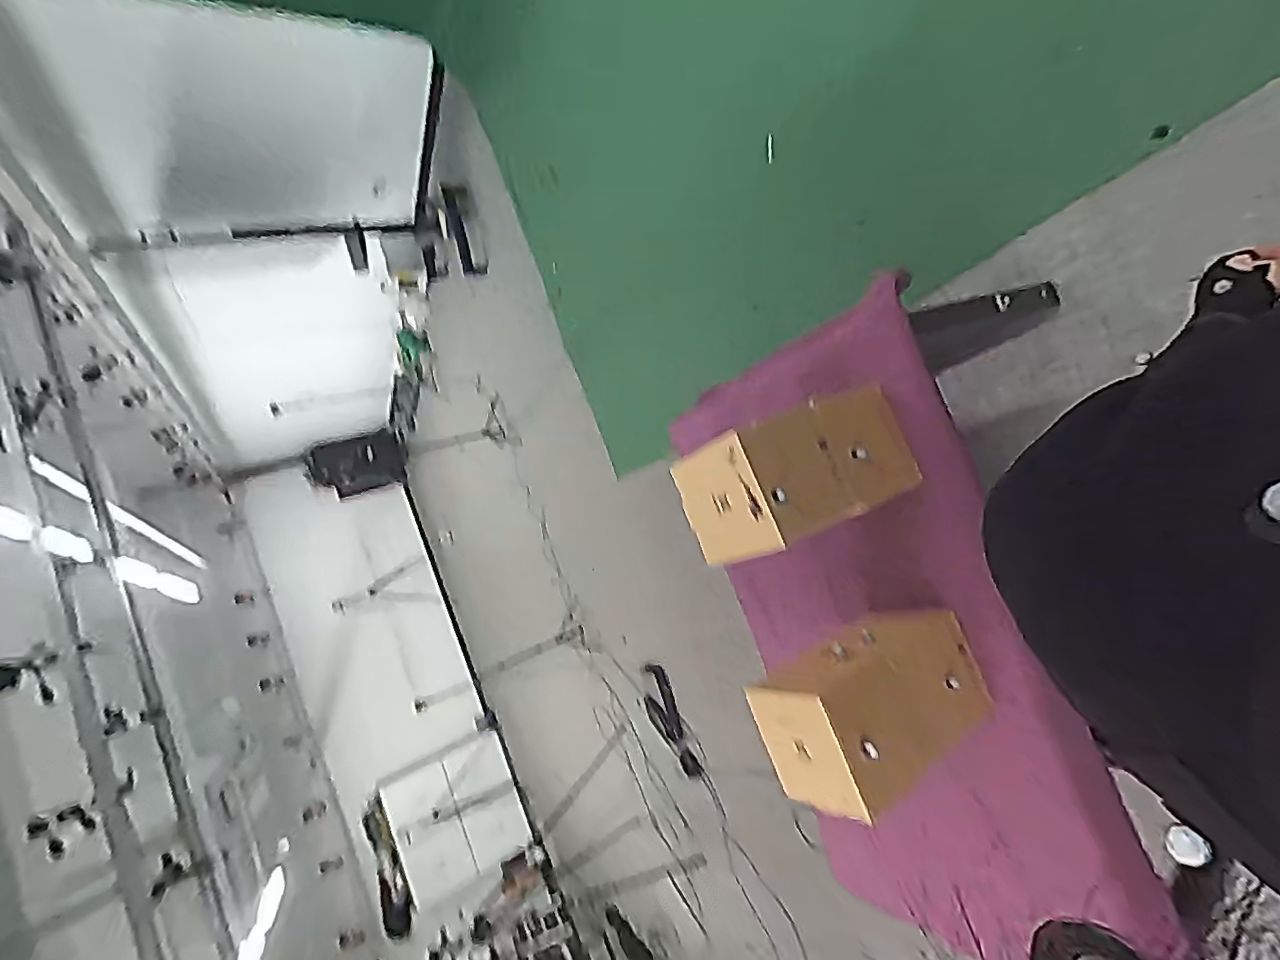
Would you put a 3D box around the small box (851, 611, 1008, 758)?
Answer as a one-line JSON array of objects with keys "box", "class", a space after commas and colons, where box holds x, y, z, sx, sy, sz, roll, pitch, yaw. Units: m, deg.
[{"box": [0.469, 0.327, 0.898, 0.179, 0.176, 0.168, -33, 77, 61], "class": "small box"}]

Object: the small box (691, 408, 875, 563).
[{"box": [0.213, 0.010, 0.820, 0.179, 0.176, 0.168, -34, 79, 60], "class": "small box"}]

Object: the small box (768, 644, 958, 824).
[{"box": [0.334, 0.365, 0.814, 0.168, 0.176, 0.179, -32, 78, 60], "class": "small box"}]
